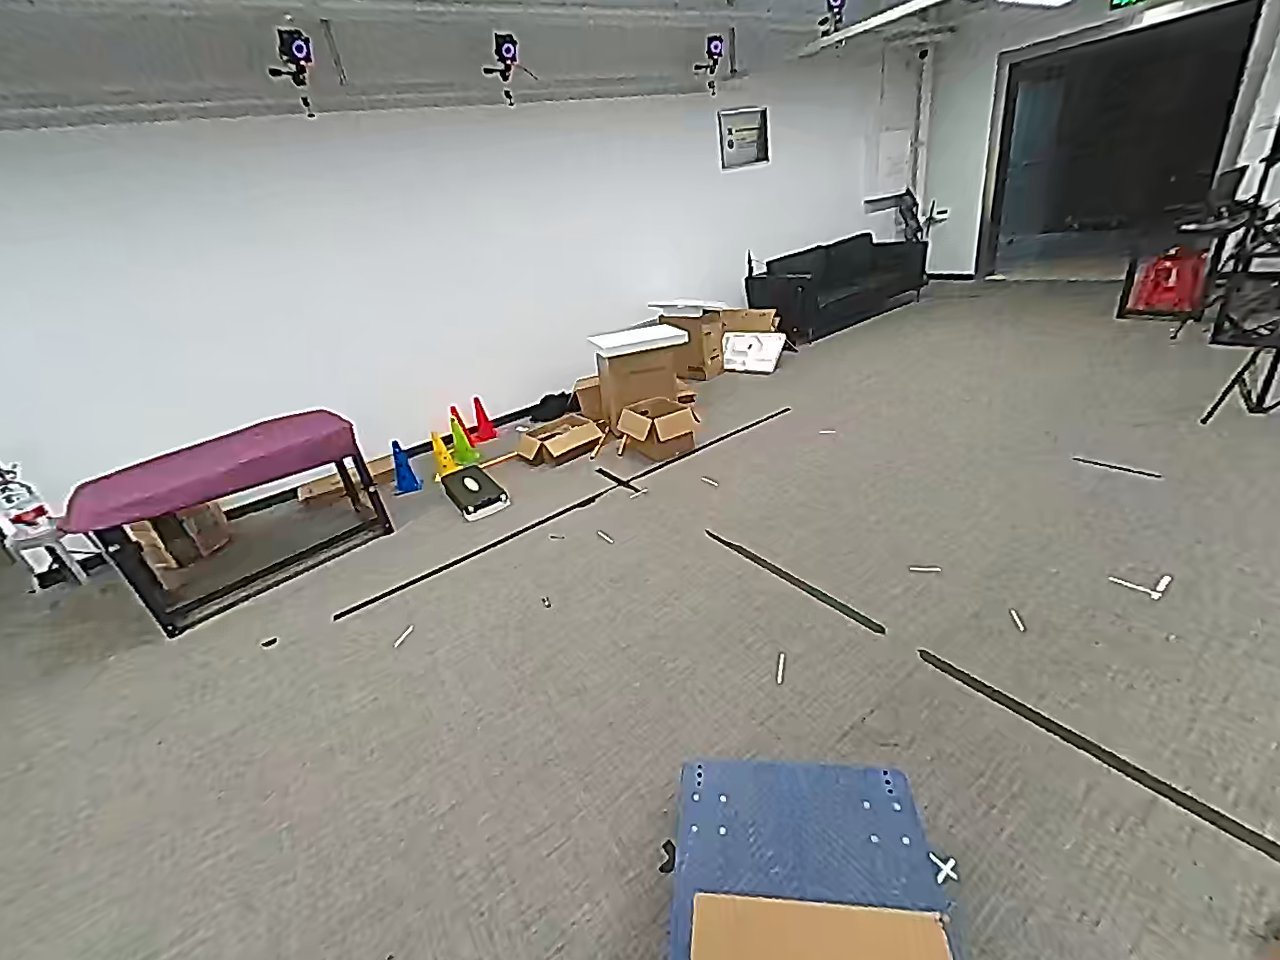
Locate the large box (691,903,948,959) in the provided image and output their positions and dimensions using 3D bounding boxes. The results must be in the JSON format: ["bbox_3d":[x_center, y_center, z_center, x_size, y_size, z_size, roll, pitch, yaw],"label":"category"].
[{"bbox_3d":[0.287,0.934,0.849,0.408,0.320,0.320,-3,28,11],"label":"large box"}]
